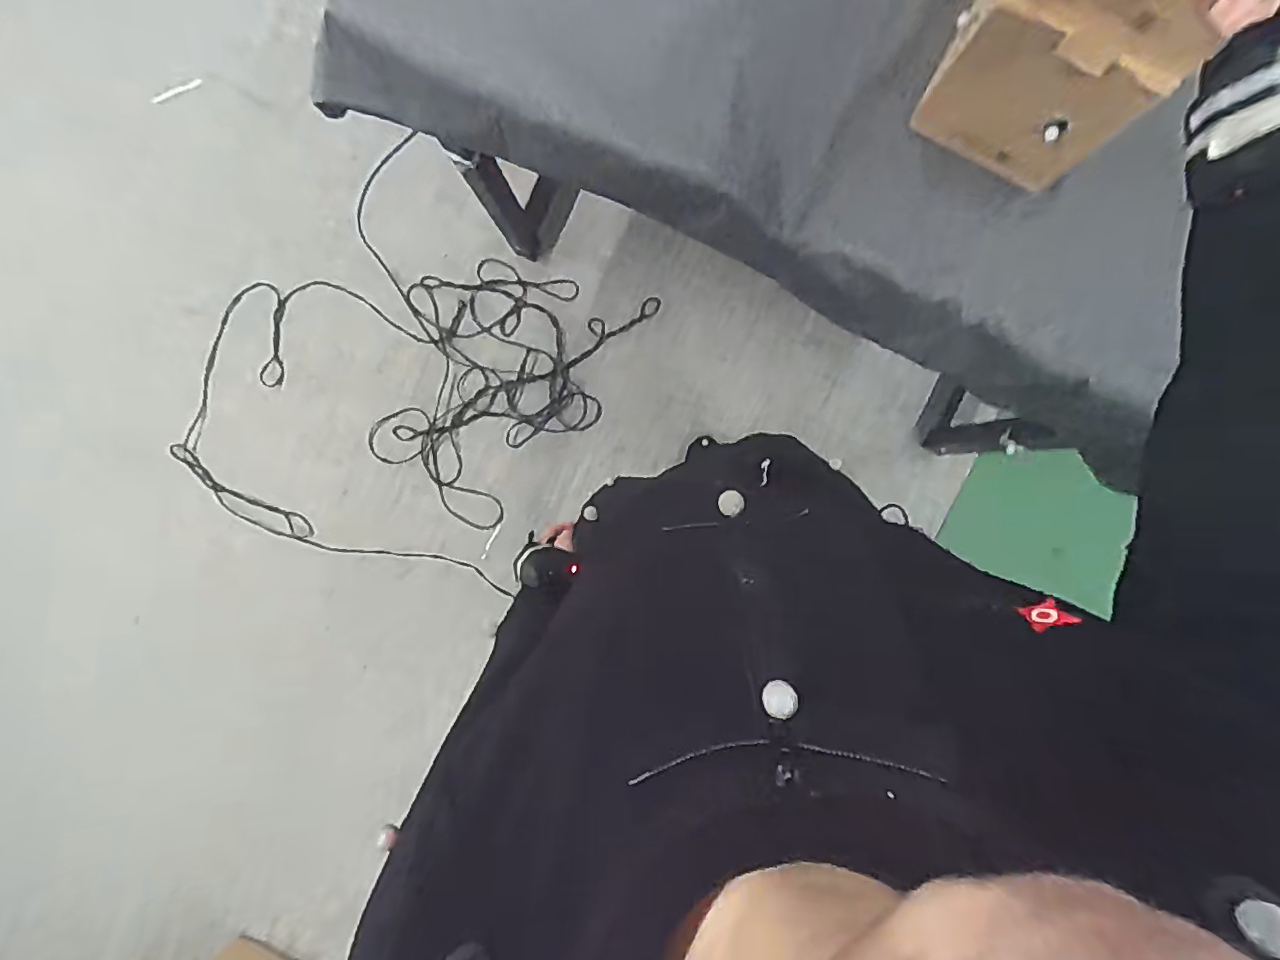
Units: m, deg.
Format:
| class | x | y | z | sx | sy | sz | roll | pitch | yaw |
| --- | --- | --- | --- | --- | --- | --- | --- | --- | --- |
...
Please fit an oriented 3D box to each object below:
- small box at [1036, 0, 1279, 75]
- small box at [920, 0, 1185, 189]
| class | x | y | z | sx | sy | sz | roll | pitch | yaw |
| --- | --- | --- | --- | --- | --- | --- | --- | --- | --- |
| small box | 0.416 | -0.438 | 0.362 | 0.168 | 0.176 | 0.179 | 29 | 92 | 0 |
| small box | 0.409 | -0.428 | 0.525 | 0.168 | 0.176 | 0.179 | 28 | 91 | 0 |
